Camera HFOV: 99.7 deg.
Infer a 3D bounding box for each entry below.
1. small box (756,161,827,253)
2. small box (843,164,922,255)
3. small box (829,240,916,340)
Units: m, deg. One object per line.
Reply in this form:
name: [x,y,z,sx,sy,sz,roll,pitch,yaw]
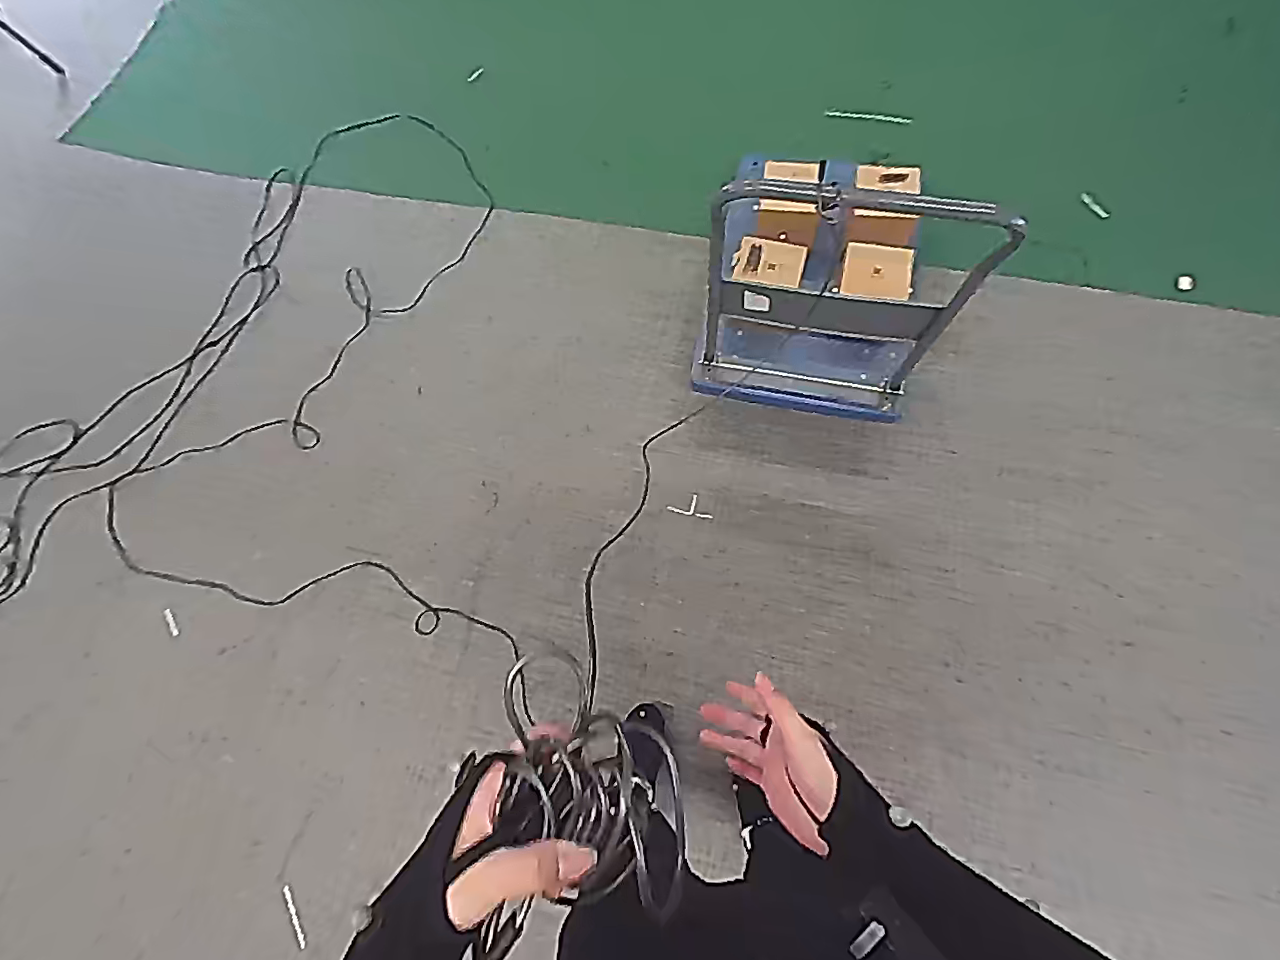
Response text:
small box: [0.434,-0.787,1.567,0.168,0.176,0.179,8,72,8]
small box: [0.681,-0.756,1.529,0.168,0.176,0.179,7,73,9]
small box: [0.617,-0.506,1.449,0.168,0.176,0.179,12,73,10]
